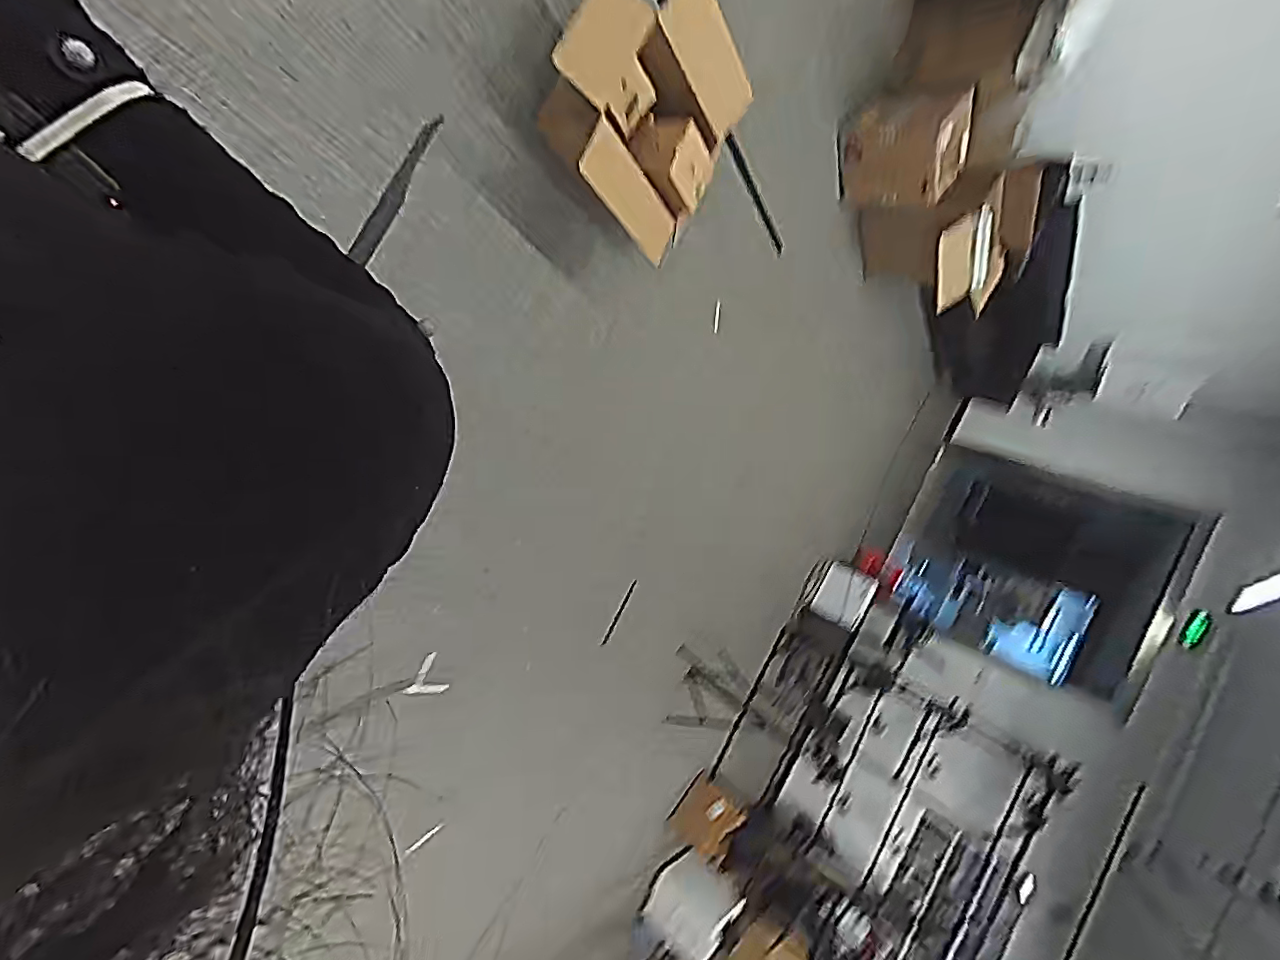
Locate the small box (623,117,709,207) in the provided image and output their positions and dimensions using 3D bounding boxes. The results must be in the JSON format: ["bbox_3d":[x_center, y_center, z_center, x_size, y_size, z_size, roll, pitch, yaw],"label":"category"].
[{"bbox_3d":[0.077,-0.955,1.636,0.179,0.176,0.168,27,87,-56],"label":"small box"}]
